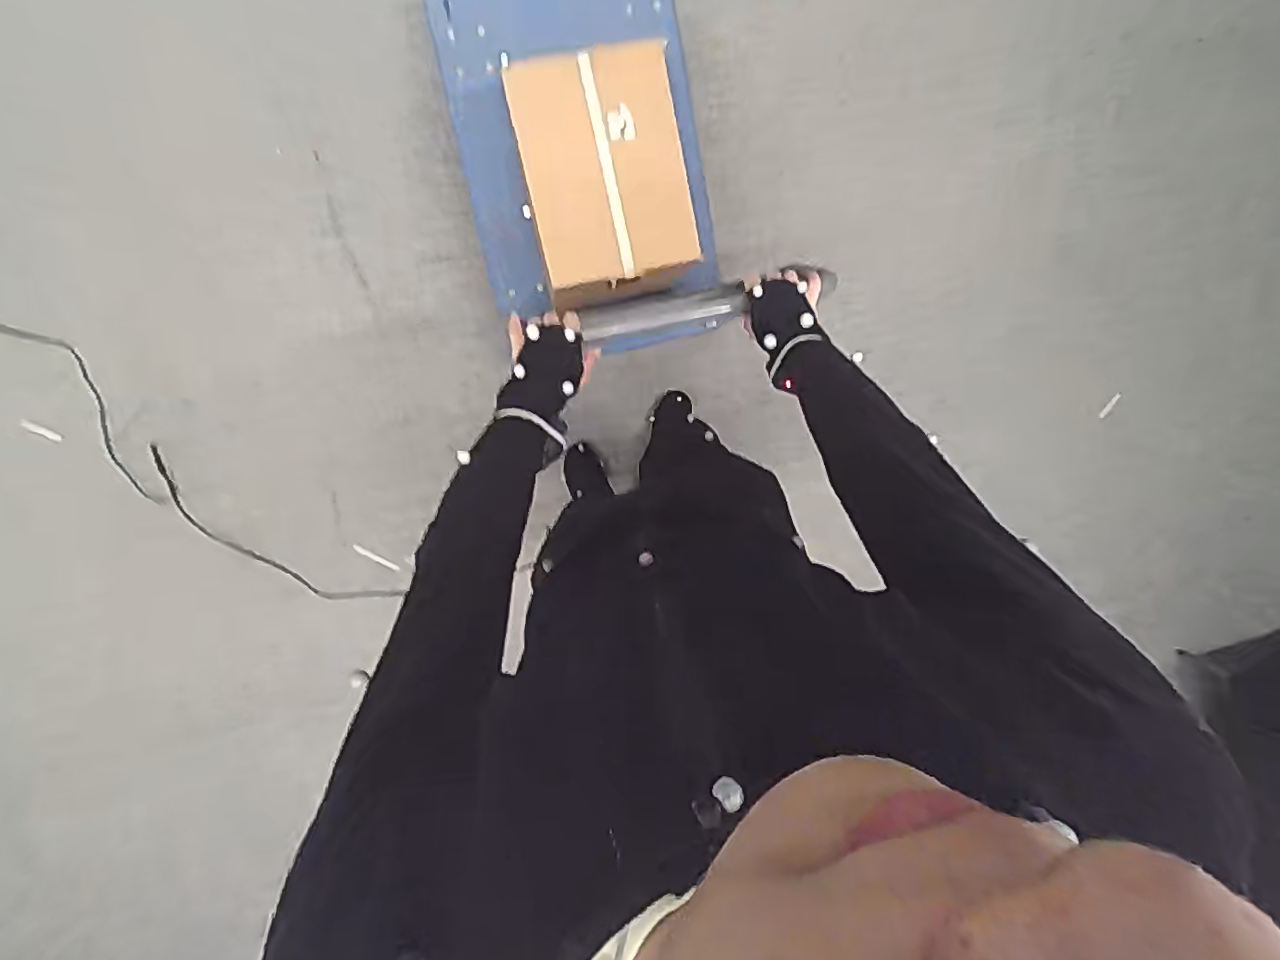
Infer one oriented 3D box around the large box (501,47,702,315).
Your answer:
[{"bbox_3d":[-0.083,-0.620,1.198,0.320,0.320,0.408,-14,99,-6],"label":"large box"}]
